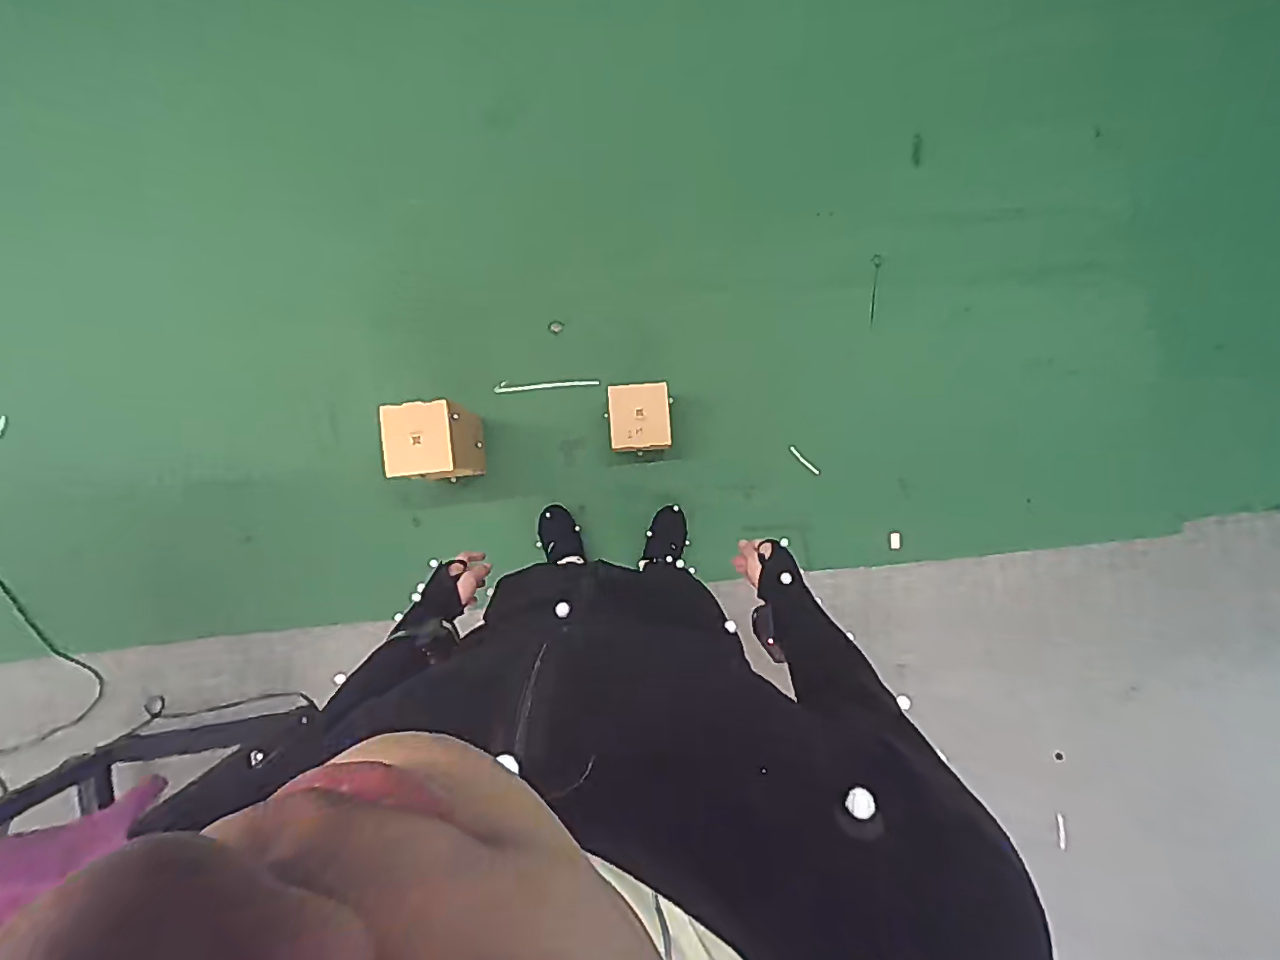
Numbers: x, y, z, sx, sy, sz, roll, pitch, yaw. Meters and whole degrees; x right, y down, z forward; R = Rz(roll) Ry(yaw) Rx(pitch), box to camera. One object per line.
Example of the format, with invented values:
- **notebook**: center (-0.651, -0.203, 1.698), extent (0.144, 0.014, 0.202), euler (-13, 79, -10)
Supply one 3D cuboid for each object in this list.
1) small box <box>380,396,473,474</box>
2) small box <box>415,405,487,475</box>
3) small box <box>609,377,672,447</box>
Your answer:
- **small box**: center (-0.538, -0.110, 1.383), extent (0.168, 0.176, 0.179), euler (-7, 89, -1)
- **small box**: center (-0.545, -0.109, 1.545), extent (0.168, 0.176, 0.179), euler (-6, 91, -1)
- **small box**: center (-0.002, -0.192, 1.560), extent (0.168, 0.176, 0.179), euler (-4, 90, -2)
